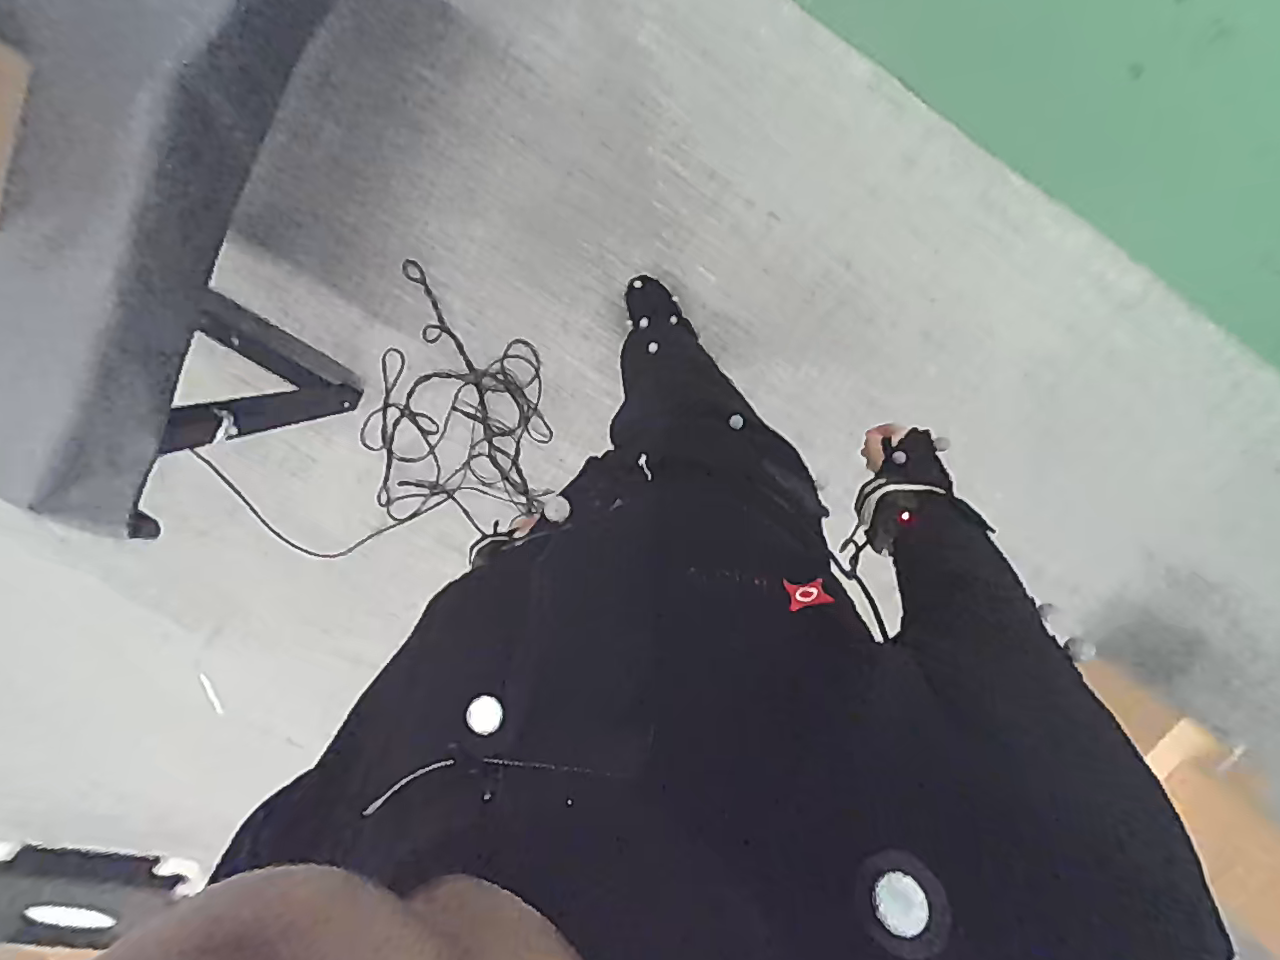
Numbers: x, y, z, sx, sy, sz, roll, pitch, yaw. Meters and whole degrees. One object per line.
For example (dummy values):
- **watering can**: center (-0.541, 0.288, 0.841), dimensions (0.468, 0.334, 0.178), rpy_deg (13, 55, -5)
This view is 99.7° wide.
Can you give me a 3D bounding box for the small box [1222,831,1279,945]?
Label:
- **small box**: center (1.208, 0.759, 0.944), dimensions (0.168, 0.176, 0.179), rpy_deg (27, 104, -6)
